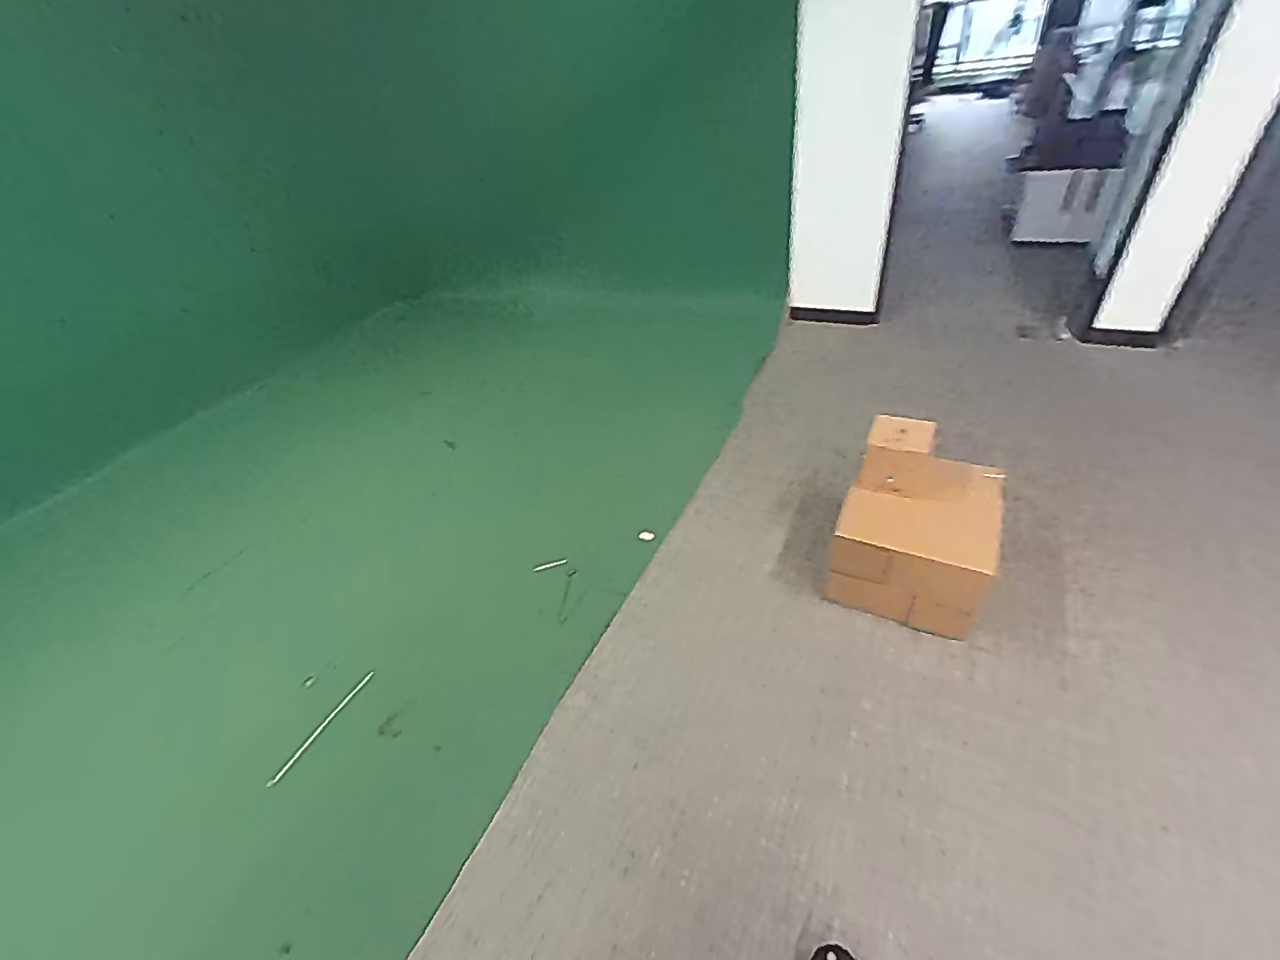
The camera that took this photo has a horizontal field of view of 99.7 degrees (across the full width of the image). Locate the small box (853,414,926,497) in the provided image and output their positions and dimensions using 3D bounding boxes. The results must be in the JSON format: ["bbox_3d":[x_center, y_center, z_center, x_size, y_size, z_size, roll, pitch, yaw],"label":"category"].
[{"bbox_3d":[0.759,-0.076,1.655,0.168,0.176,0.179,13,43,26],"label":"small box"}]
